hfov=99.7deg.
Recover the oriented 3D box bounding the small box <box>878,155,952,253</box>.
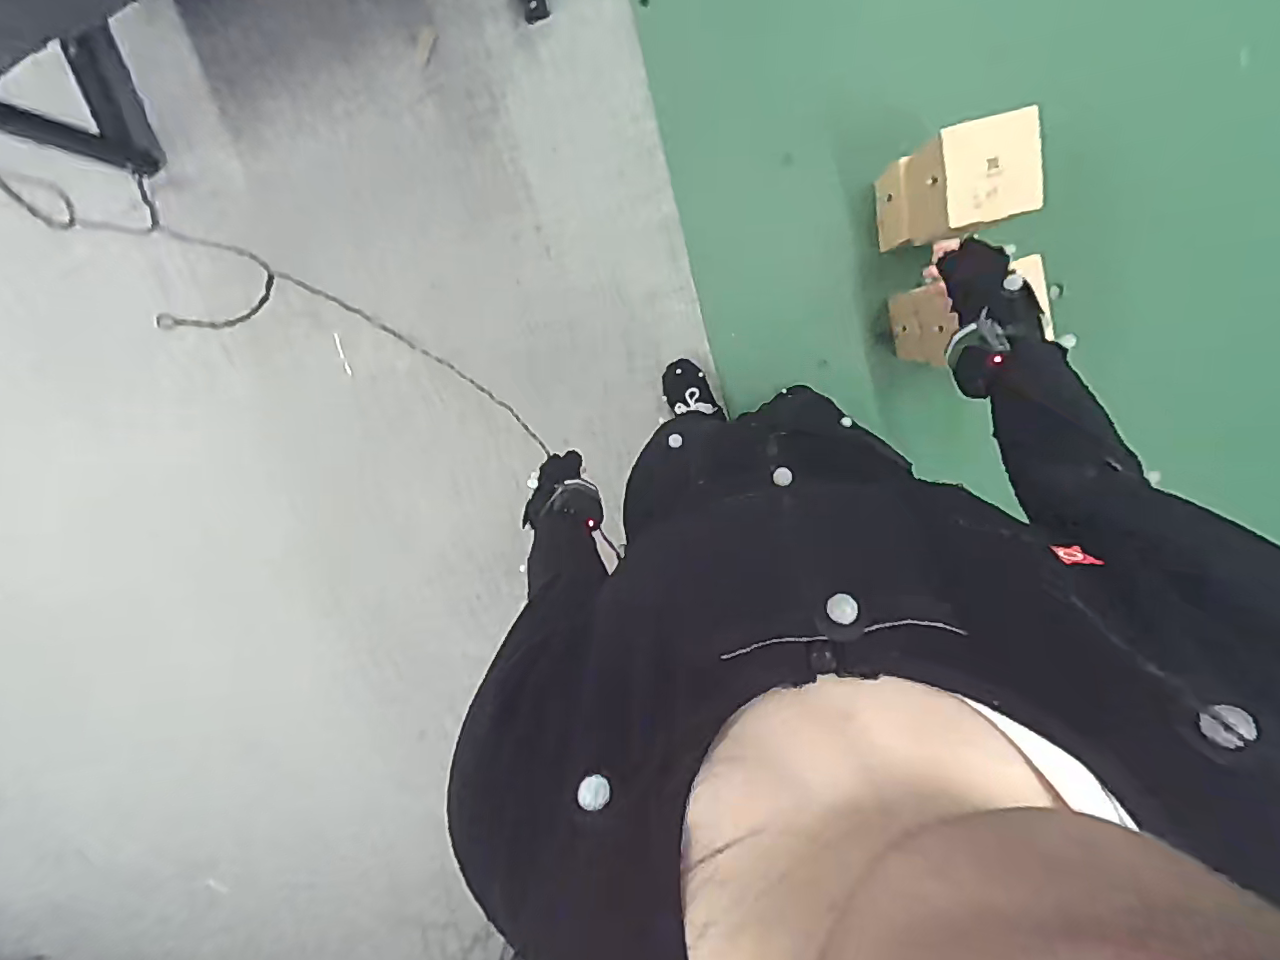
[{"bbox_3d":[0.651,-0.626,1.218,0.179,0.176,0.168,-9,102,7],"label":"small box"}]

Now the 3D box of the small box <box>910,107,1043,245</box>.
[{"bbox_3d":[0.647,-0.582,1.058,0.168,0.176,0.179,-10,101,7],"label":"small box"}]
